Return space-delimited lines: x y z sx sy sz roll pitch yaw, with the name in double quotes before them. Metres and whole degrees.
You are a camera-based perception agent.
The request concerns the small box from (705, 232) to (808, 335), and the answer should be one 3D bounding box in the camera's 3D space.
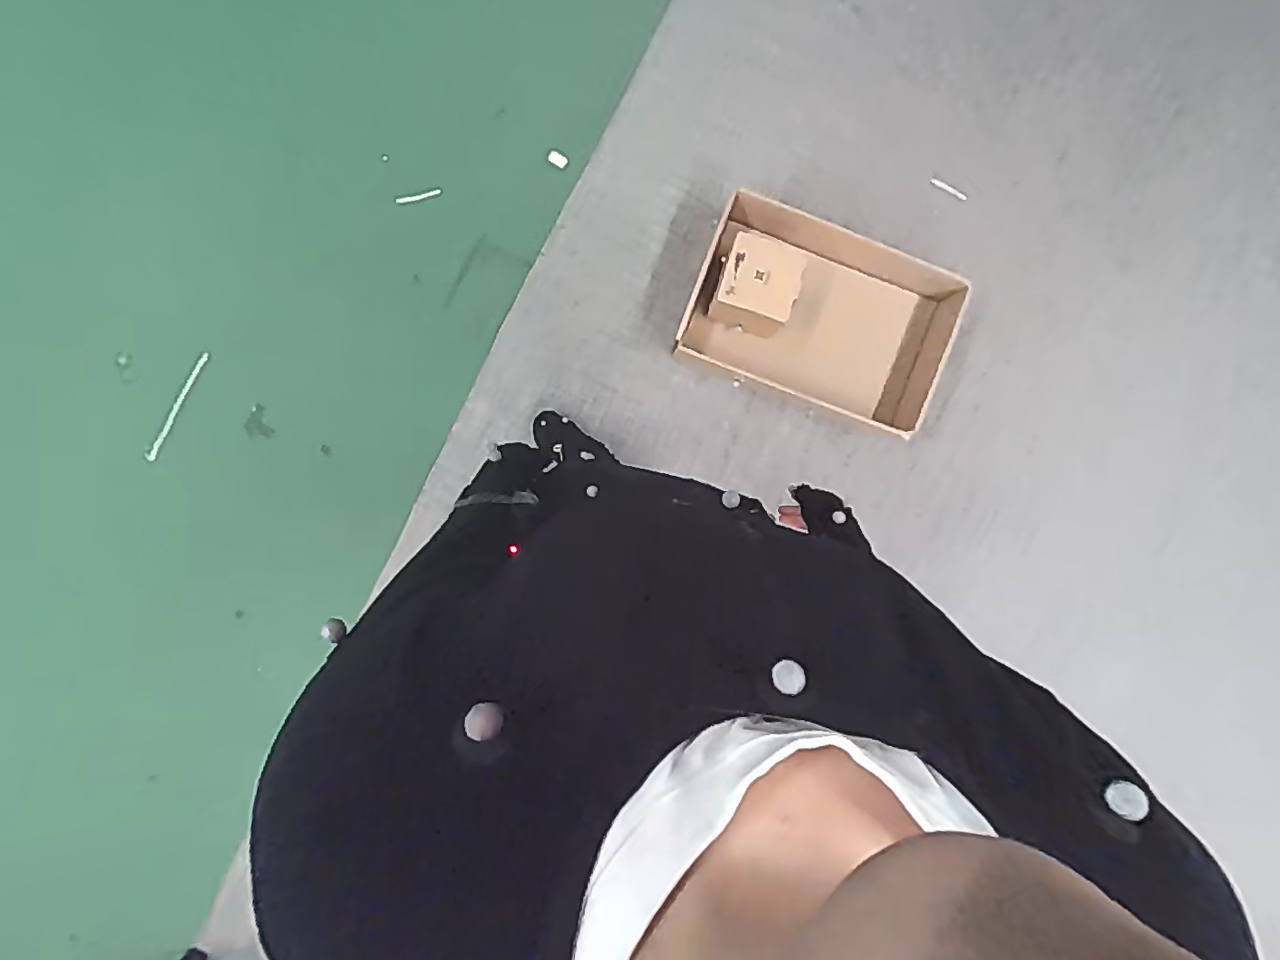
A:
"small box" 0.275 -0.467 1.316 0.179 0.176 0.168 18 91 -4
